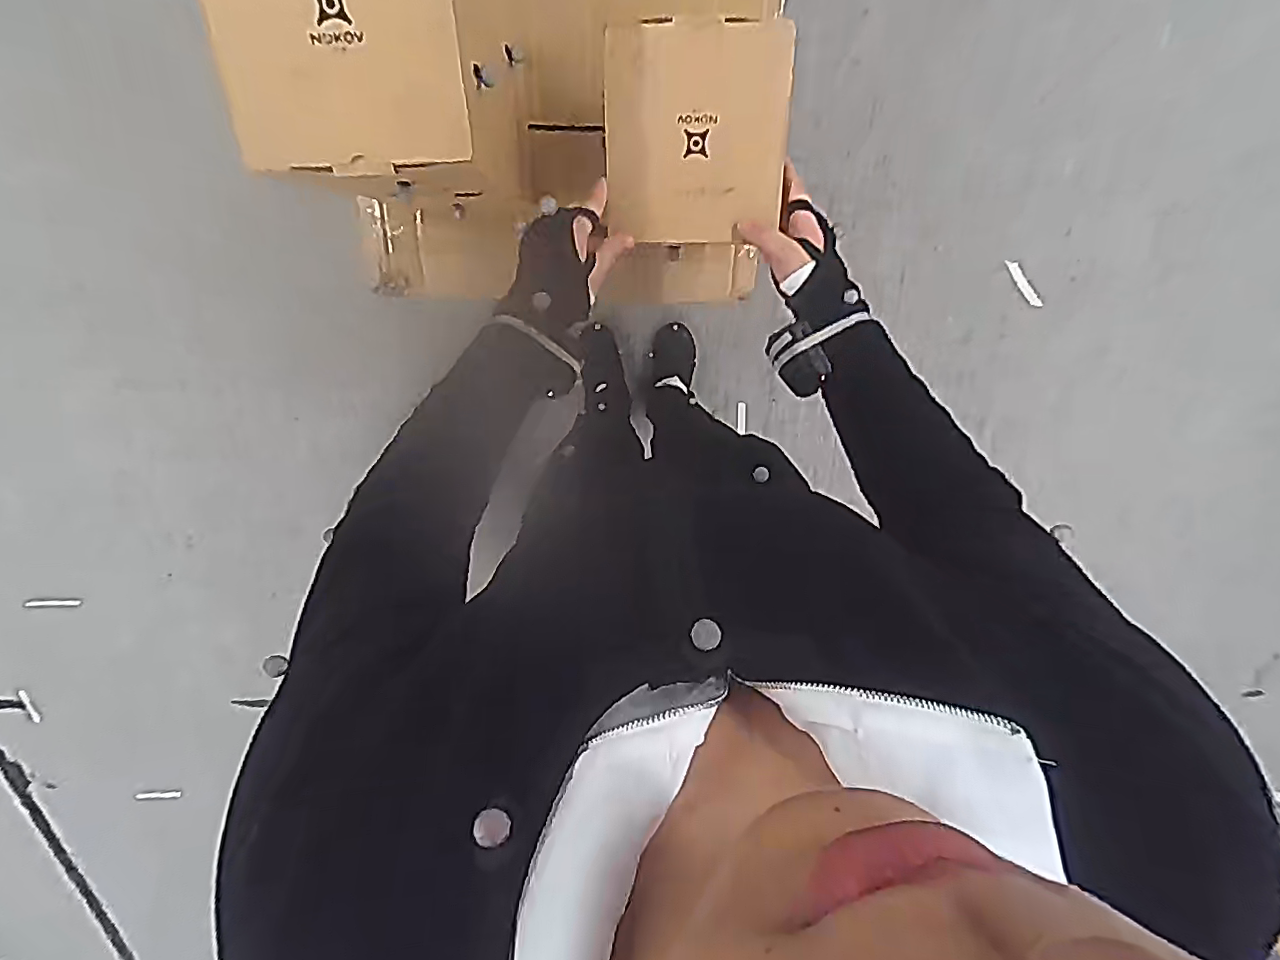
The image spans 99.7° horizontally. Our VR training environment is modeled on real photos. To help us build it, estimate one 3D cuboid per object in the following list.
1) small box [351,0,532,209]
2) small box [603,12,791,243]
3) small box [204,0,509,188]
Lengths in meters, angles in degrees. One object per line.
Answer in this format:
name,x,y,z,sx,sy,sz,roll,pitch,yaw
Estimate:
small box,-0.216,-0.402,0.590,0.168,0.176,0.179,-2,113,-3
small box,0.049,-0.347,0.566,0.168,0.176,0.179,-1,113,1
small box,-0.209,-0.341,0.438,0.168,0.176,0.179,-3,113,-2
